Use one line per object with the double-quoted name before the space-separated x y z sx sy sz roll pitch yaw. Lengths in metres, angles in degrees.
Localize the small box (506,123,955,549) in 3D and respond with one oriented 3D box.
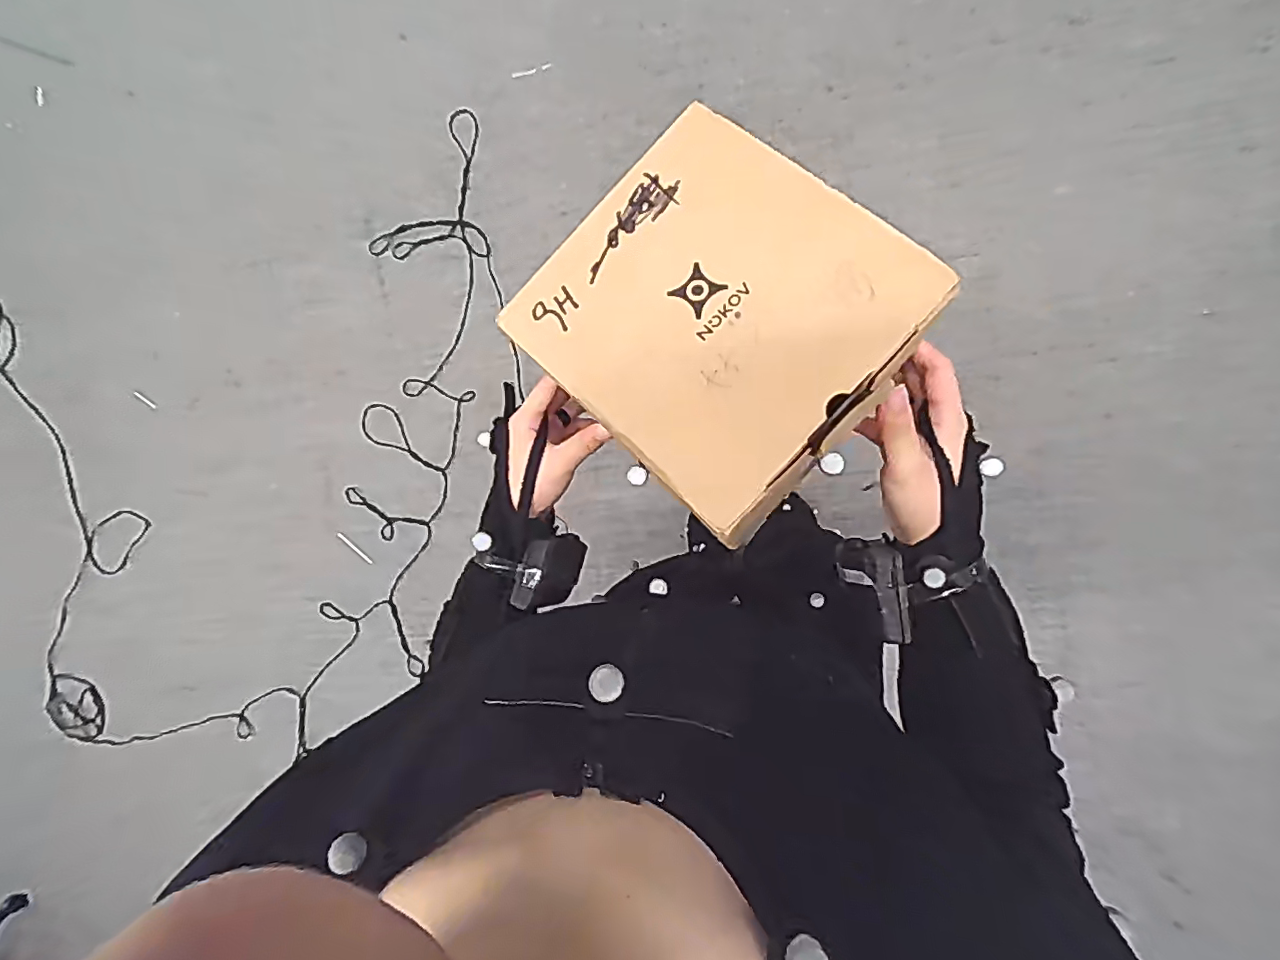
"small box" 0.053 -0.072 0.359 0.168 0.176 0.179 -45 76 1
